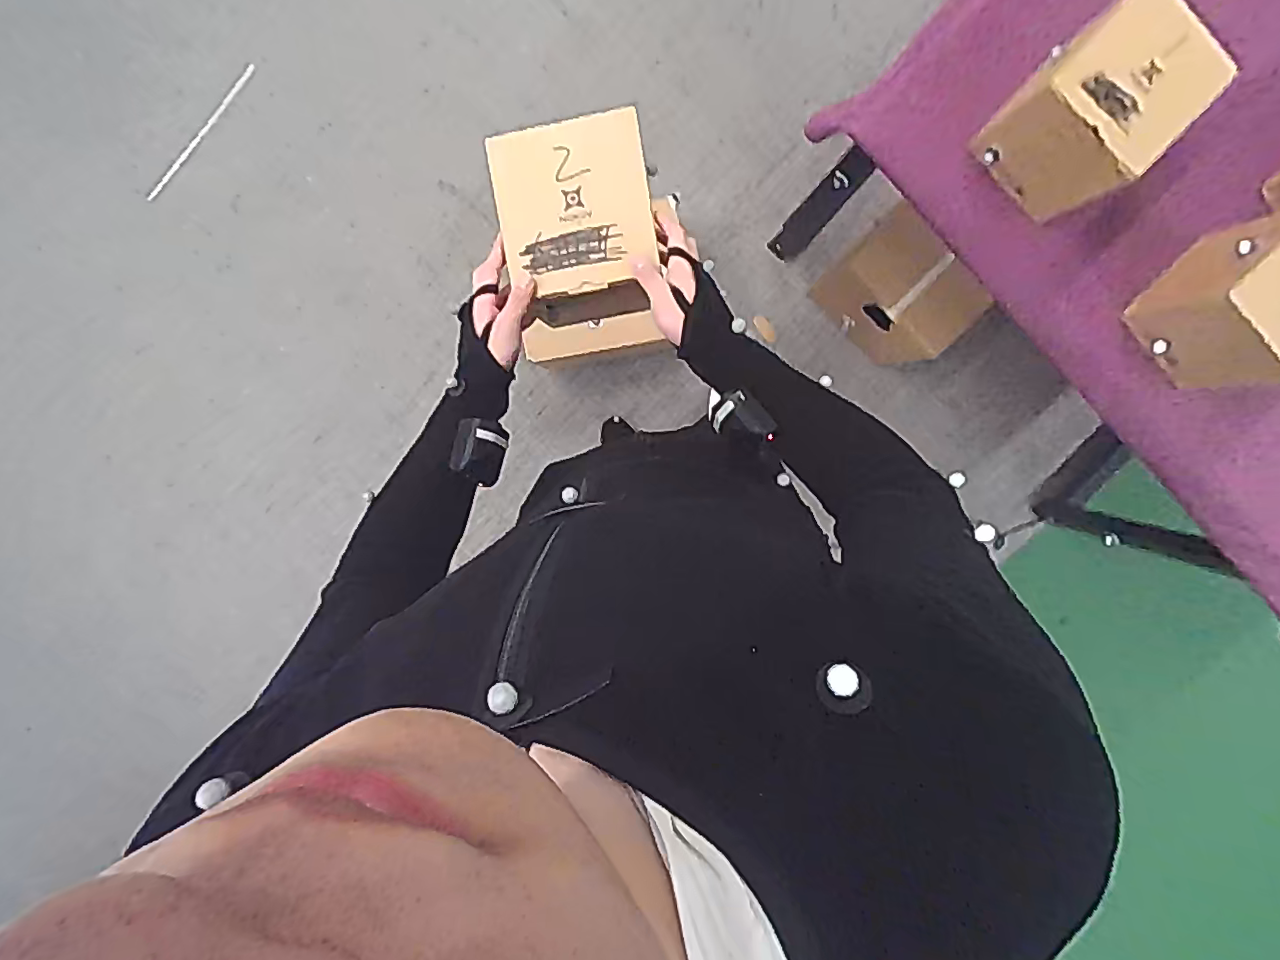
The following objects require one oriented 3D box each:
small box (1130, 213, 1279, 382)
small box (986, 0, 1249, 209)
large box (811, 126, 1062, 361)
[{"bbox_3d":[0.871,-0.258,0.764,0.179,0.176,0.168,-44,96,6],"label":"small box"},{"bbox_3d":[0.609,-0.505,0.723,0.168,0.176,0.179,42,95,-6],"label":"small box"},{"bbox_3d":[0.723,-0.565,1.386,0.320,0.320,0.408,43,95,-7],"label":"large box"}]
